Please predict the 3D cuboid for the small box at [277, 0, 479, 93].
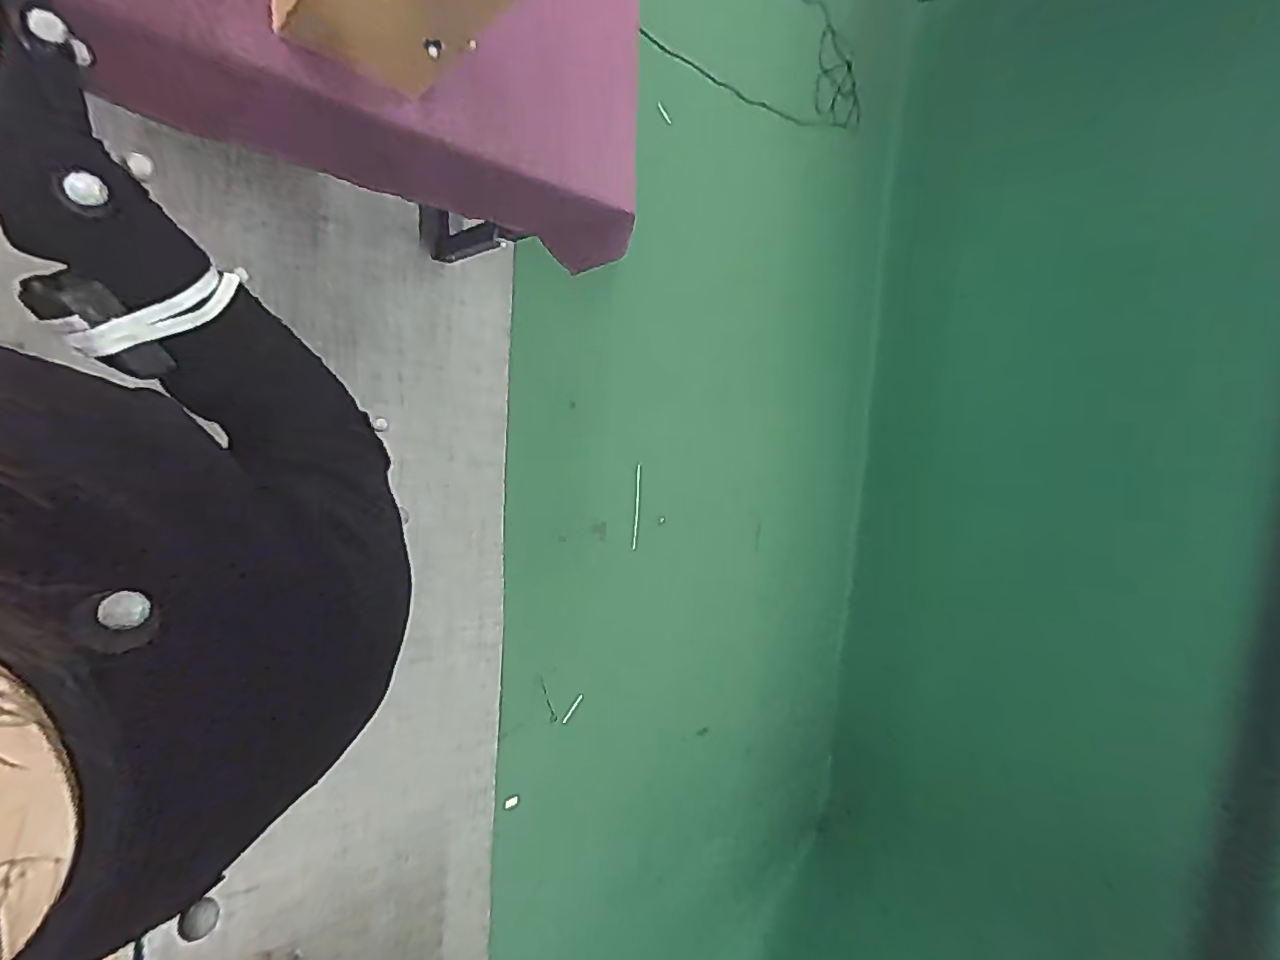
[{"bbox_3d":[-0.311,-0.601,0.637,0.179,0.176,0.168,-6,100,-47],"label":"small box"}]
